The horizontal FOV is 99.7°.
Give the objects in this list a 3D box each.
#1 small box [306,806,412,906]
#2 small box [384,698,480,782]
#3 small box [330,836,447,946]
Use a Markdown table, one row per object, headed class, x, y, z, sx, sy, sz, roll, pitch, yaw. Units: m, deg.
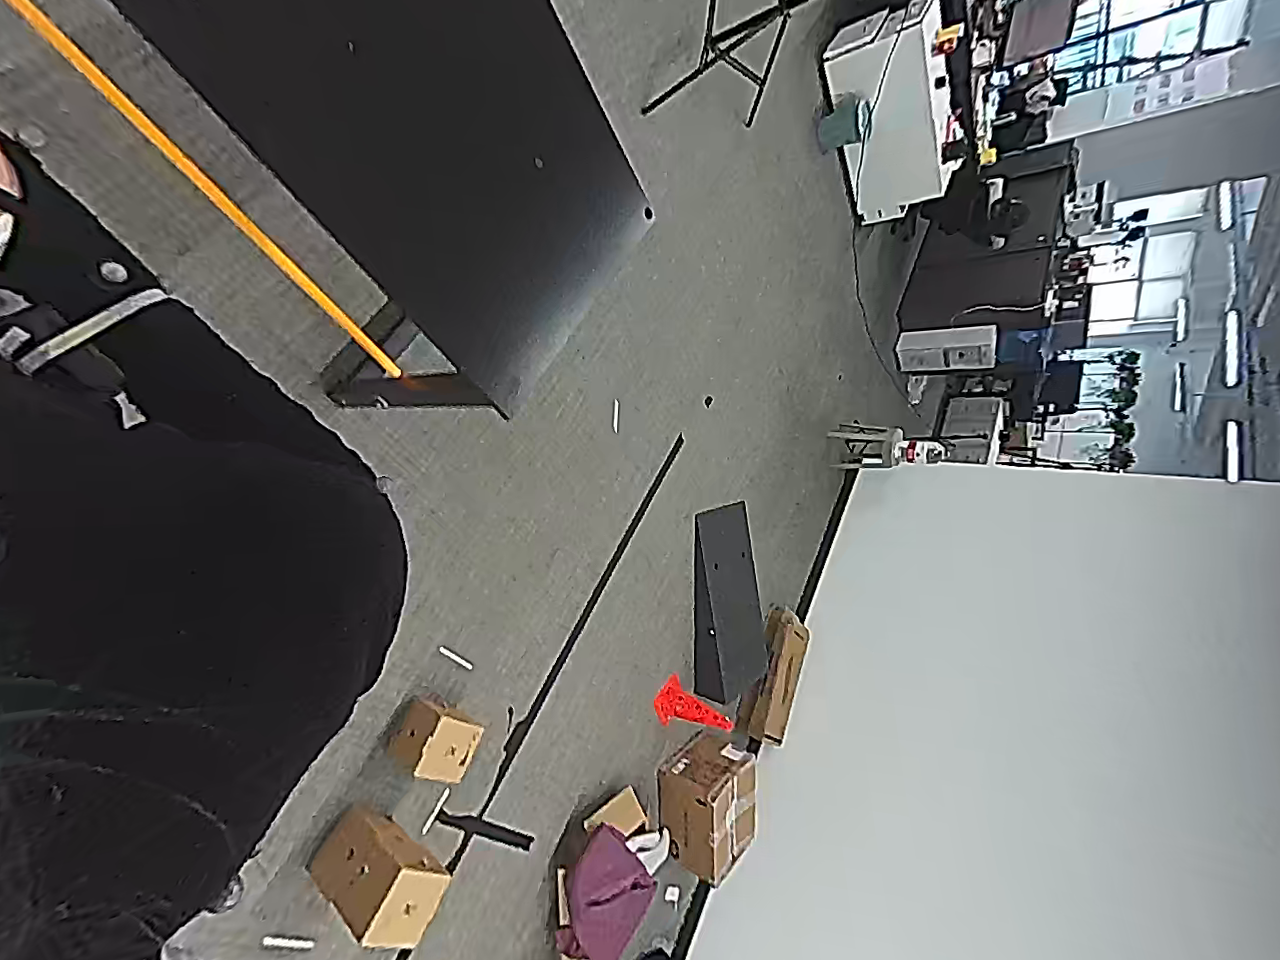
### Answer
| class | x | y | z | sx | sy | sz | roll | pitch | yaw |
| --- | --- | --- | --- | --- | --- | --- | --- | --- | --- |
| small box | -0.771 | 1.037 | 1.486 | 0.179 | 0.176 | 0.168 | -57 | 134 | -26 |
| small box | -0.626 | 0.773 | 1.621 | 0.179 | 0.176 | 0.168 | 46 | 61 | -43 |
| small box | -0.643 | 1.049 | 1.386 | 0.179 | 0.176 | 0.168 | 50 | 57 | -40 |
